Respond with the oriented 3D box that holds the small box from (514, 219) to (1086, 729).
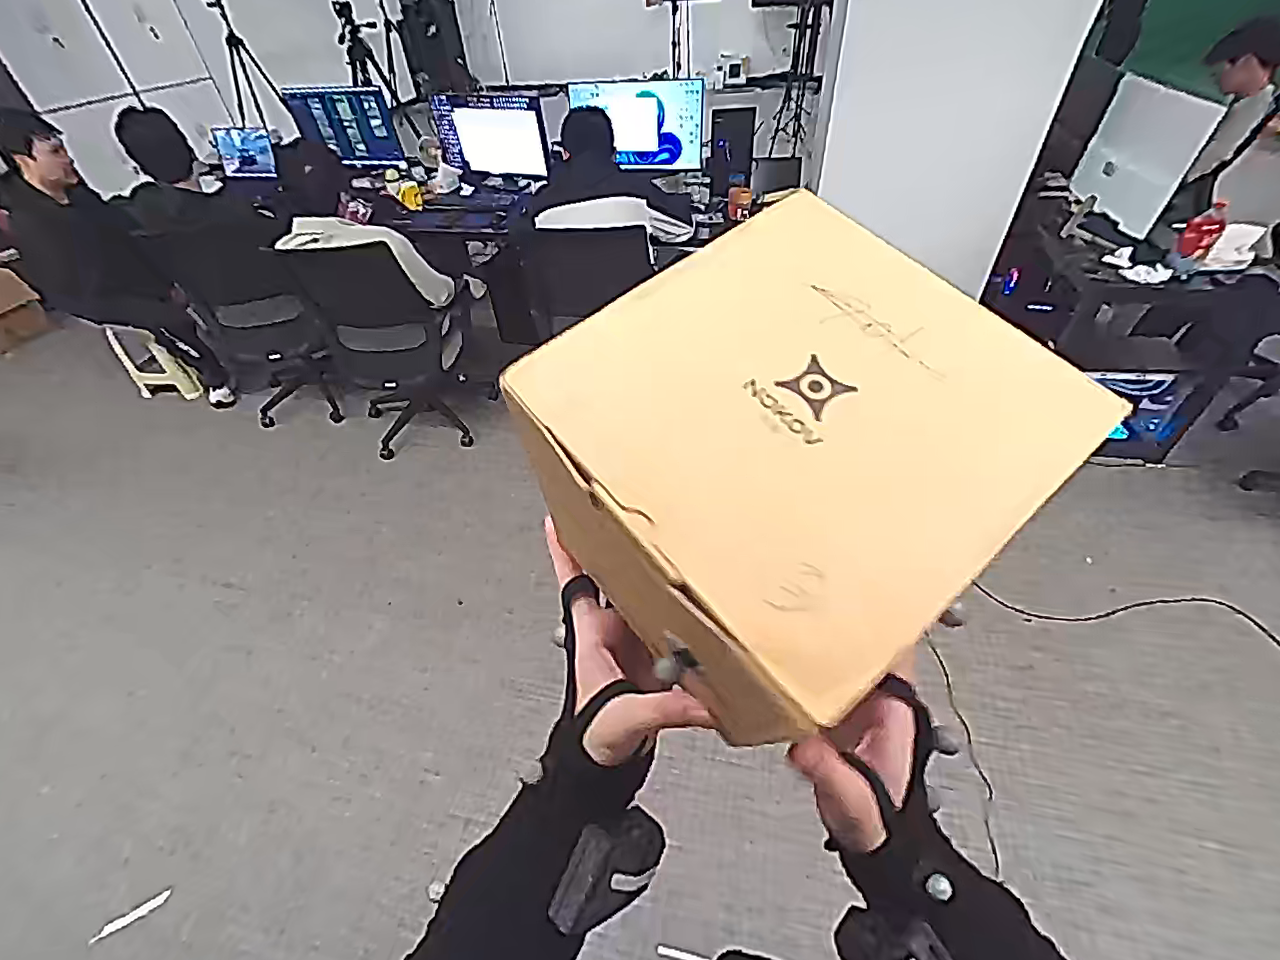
[{"bbox_3d":[0.063,0.010,0.290,0.179,0.176,0.168,-39,71,-18],"label":"small box"}]
